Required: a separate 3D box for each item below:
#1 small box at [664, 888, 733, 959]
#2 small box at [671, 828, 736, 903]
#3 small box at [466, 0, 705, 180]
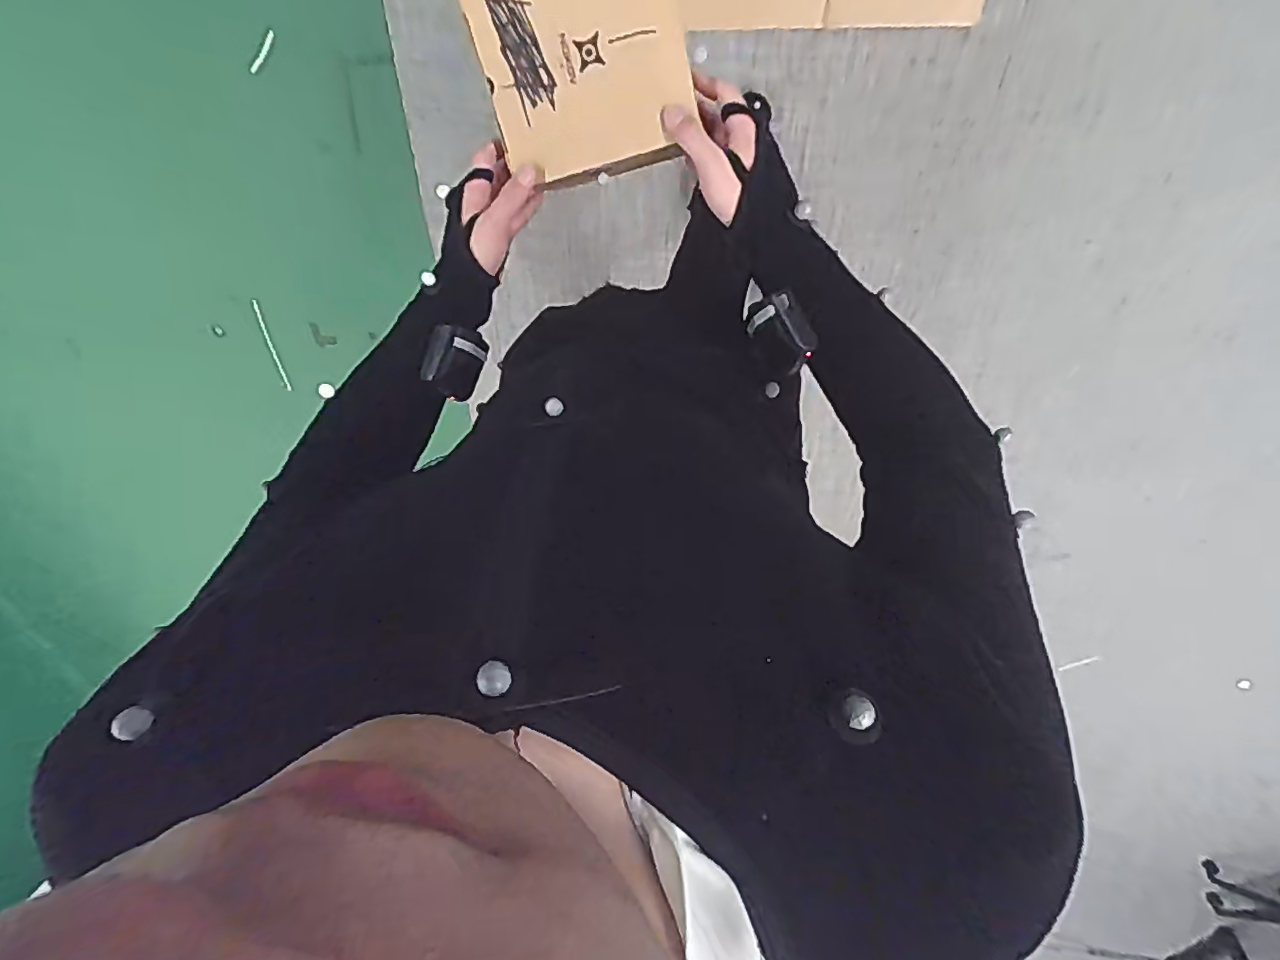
[{"bbox_3d":[0.167,1.303,1.544,0.179,0.176,0.168,5,126,9],"label":"small box"},{"bbox_3d":[0.197,1.212,1.674,0.179,0.176,0.168,6,127,9],"label":"small box"},{"bbox_3d":[-0.037,-0.399,0.518,0.179,0.176,0.168,-9,117,12],"label":"small box"}]
